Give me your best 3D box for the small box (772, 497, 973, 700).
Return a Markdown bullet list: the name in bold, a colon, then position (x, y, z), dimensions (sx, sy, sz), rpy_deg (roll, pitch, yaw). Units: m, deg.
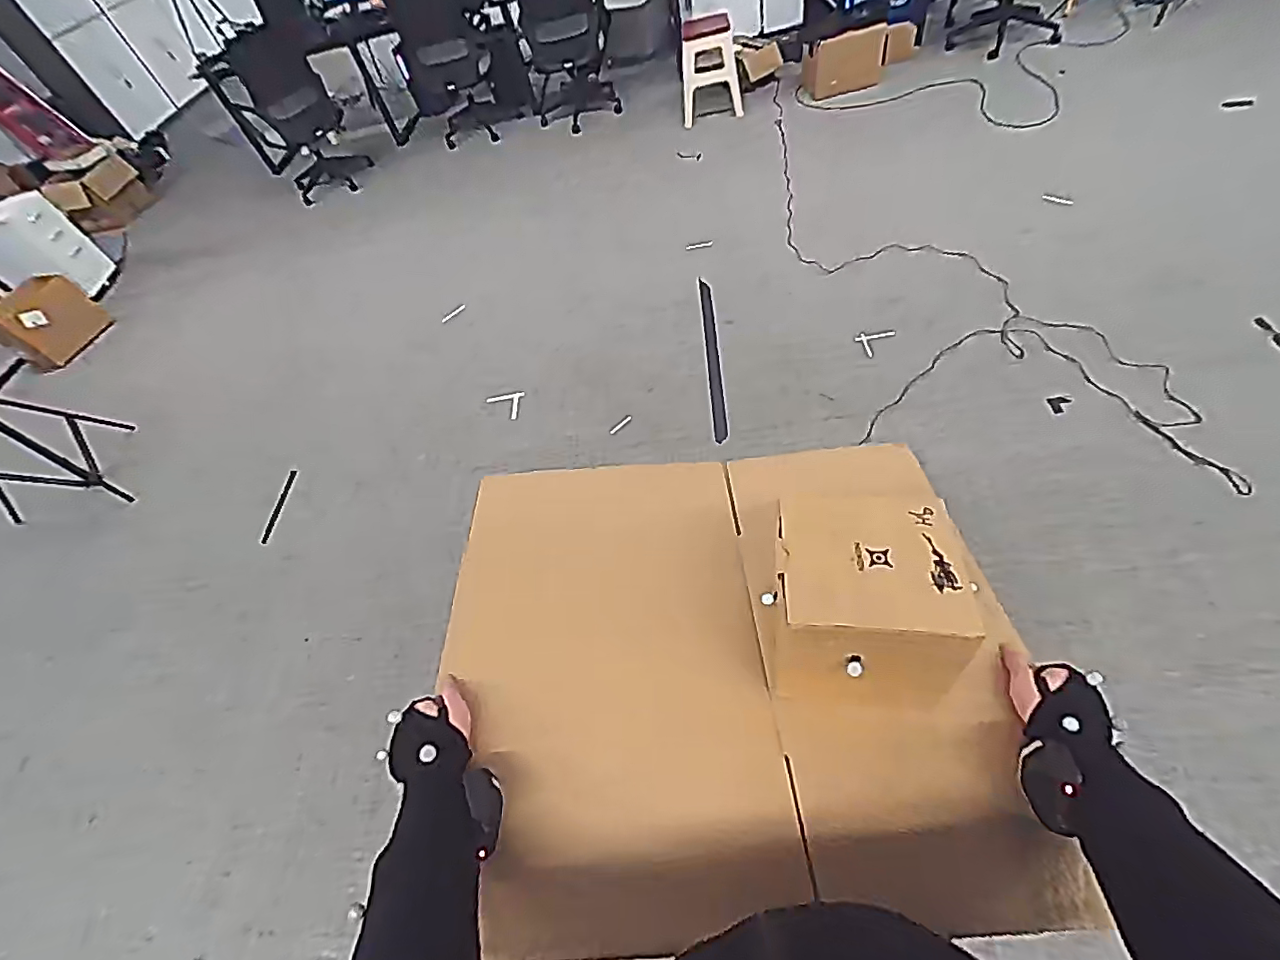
- **small box**: position (0.242, 0.136, 0.615), dimensions (0.179, 0.176, 0.168), rpy_deg (0, 47, 11)
